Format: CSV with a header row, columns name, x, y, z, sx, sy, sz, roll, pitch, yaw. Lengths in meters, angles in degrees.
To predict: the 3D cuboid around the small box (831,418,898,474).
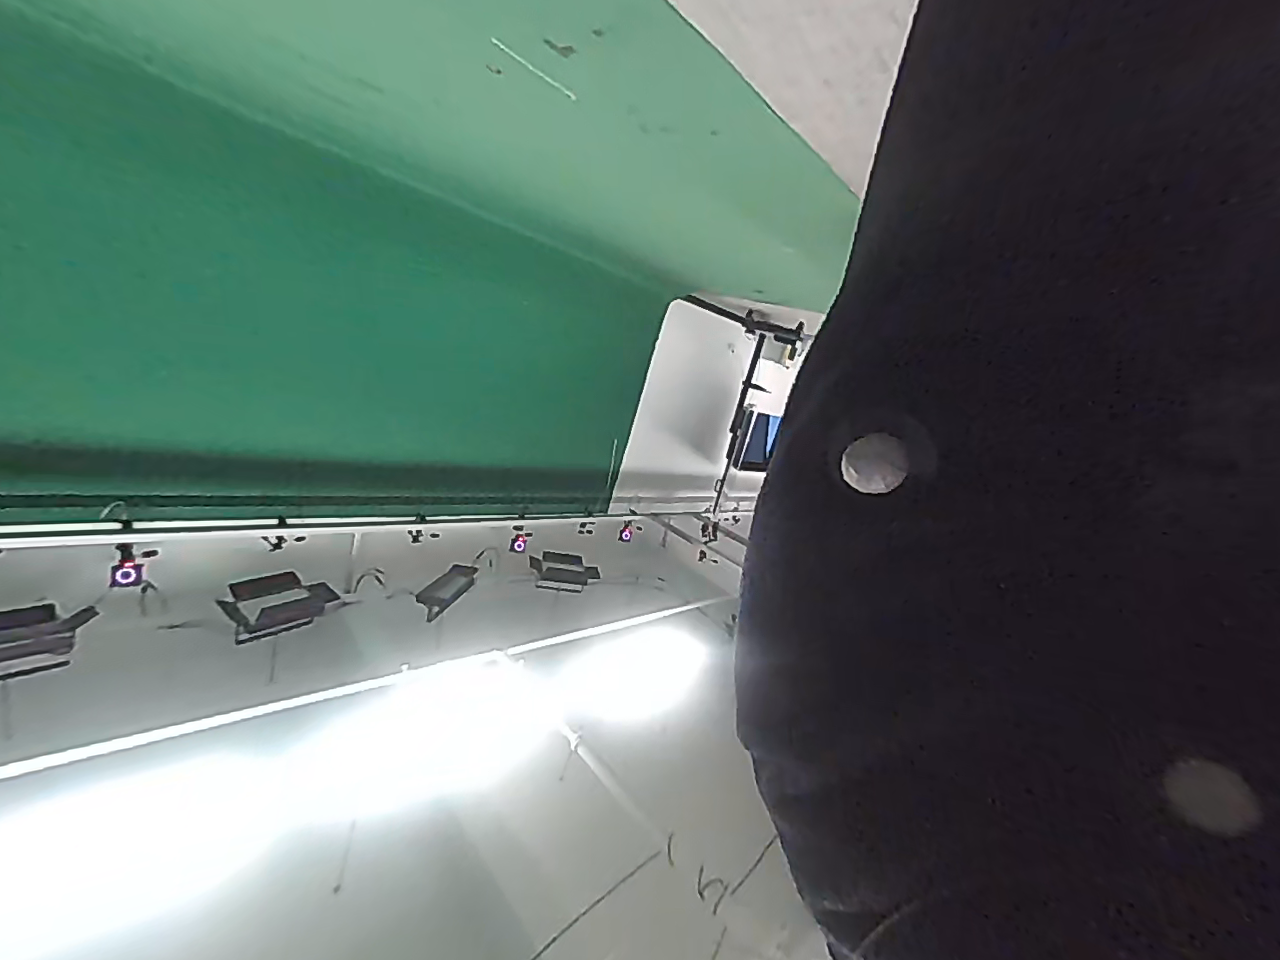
name,x,y,z,sx,sy,sz,roll,pitch,yaw
small box,0.862,-0.131,2.062,0.179,0.176,0.168,27,-164,35
